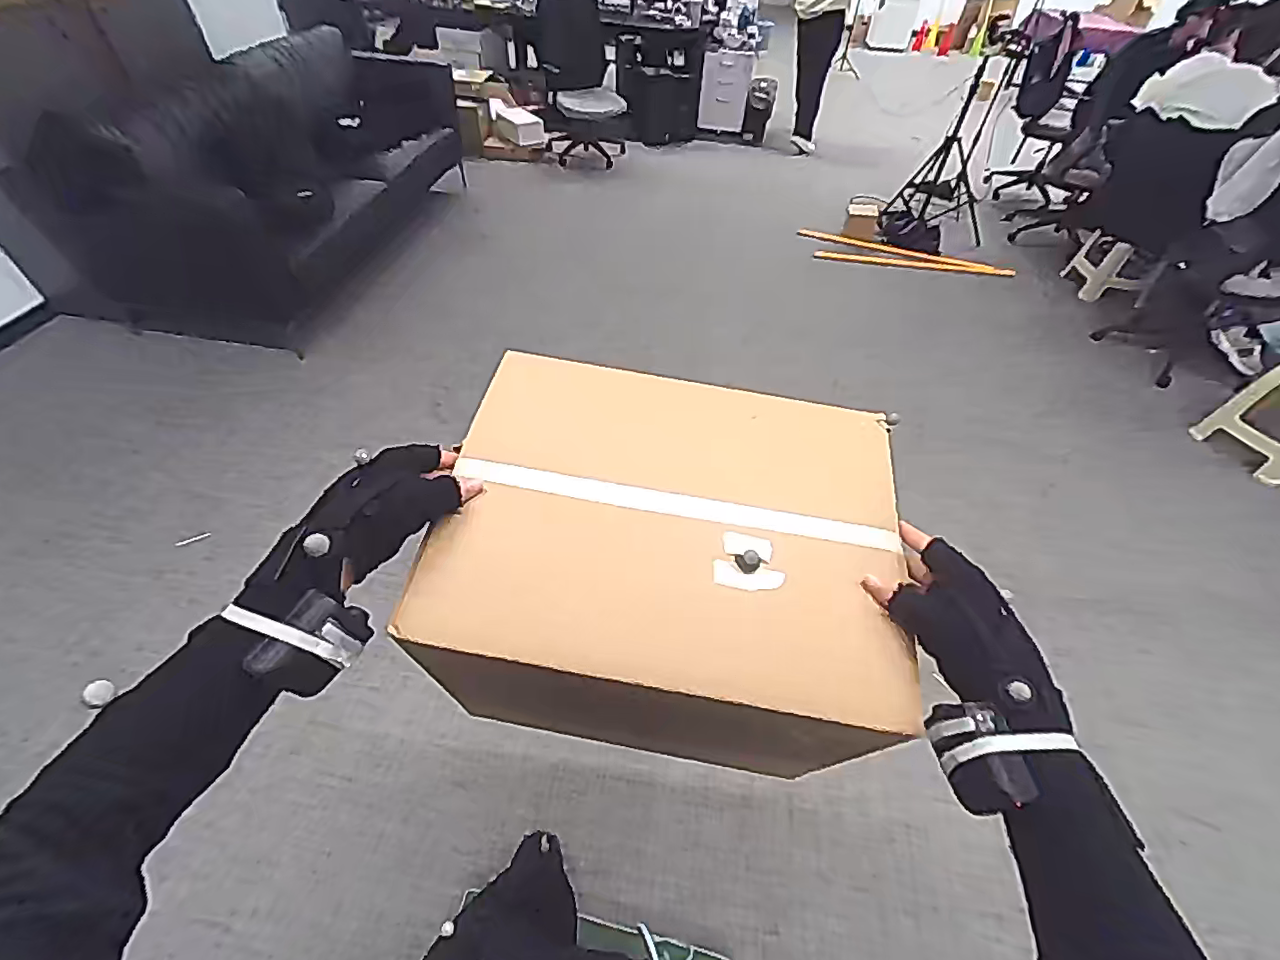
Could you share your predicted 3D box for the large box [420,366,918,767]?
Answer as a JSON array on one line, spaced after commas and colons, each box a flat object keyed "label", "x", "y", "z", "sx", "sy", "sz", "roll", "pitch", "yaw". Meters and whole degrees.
[{"label": "large box", "x": 0.028, "y": 0.113, "z": 0.624, "sx": 0.408, "sy": 0.320, "sz": 0.320, "roll": 10, "pitch": 56, "yaw": 1}]
